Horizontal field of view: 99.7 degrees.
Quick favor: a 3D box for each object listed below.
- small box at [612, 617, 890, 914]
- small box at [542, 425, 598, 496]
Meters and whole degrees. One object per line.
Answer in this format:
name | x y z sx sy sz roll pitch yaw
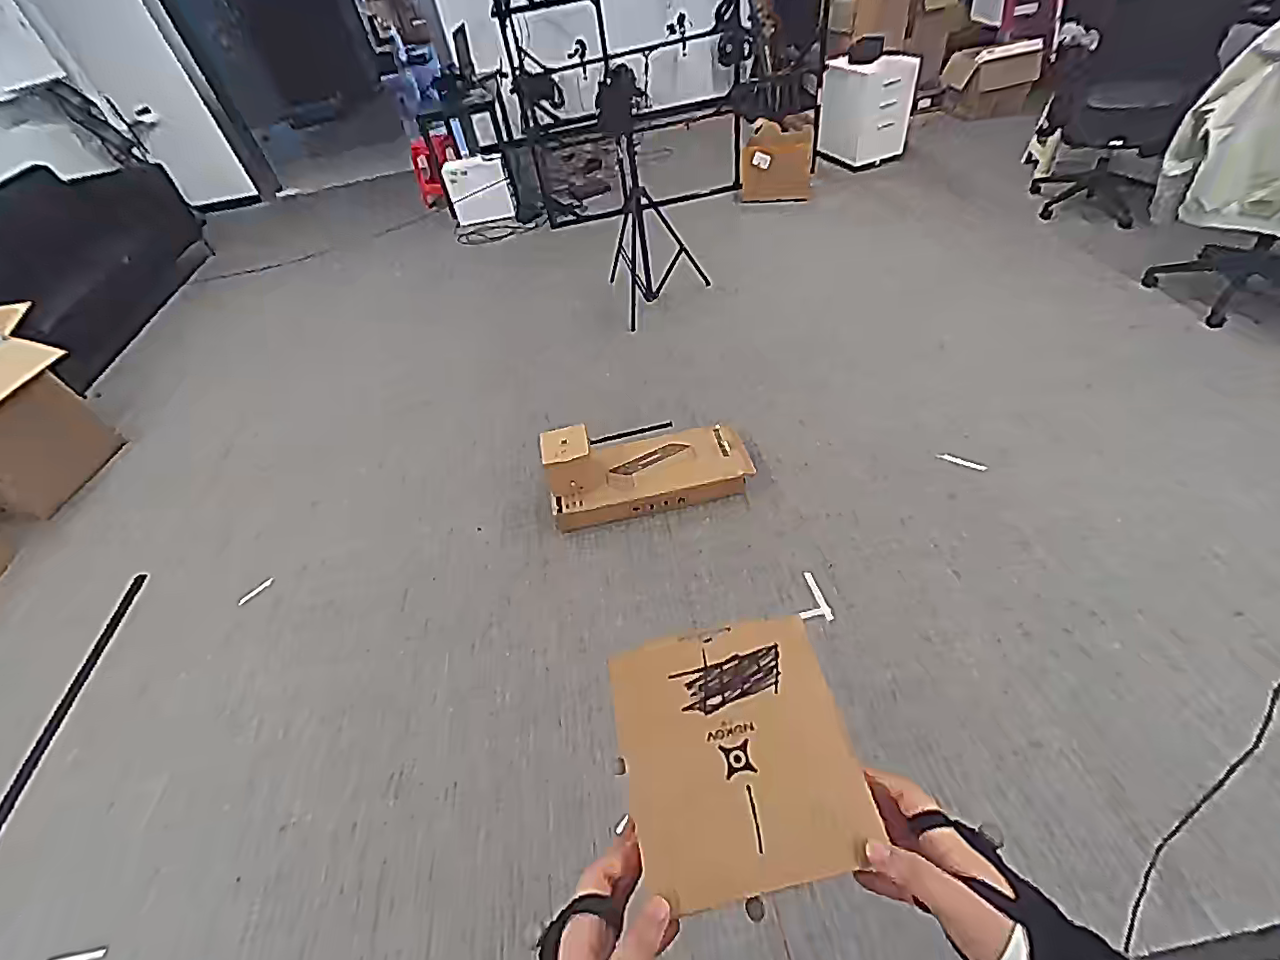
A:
small box | 0.075 0.244 0.463 0.168 0.176 0.179 -12 53 -3
small box | -0.252 -0.069 1.956 0.168 0.176 0.179 -13 45 -2
